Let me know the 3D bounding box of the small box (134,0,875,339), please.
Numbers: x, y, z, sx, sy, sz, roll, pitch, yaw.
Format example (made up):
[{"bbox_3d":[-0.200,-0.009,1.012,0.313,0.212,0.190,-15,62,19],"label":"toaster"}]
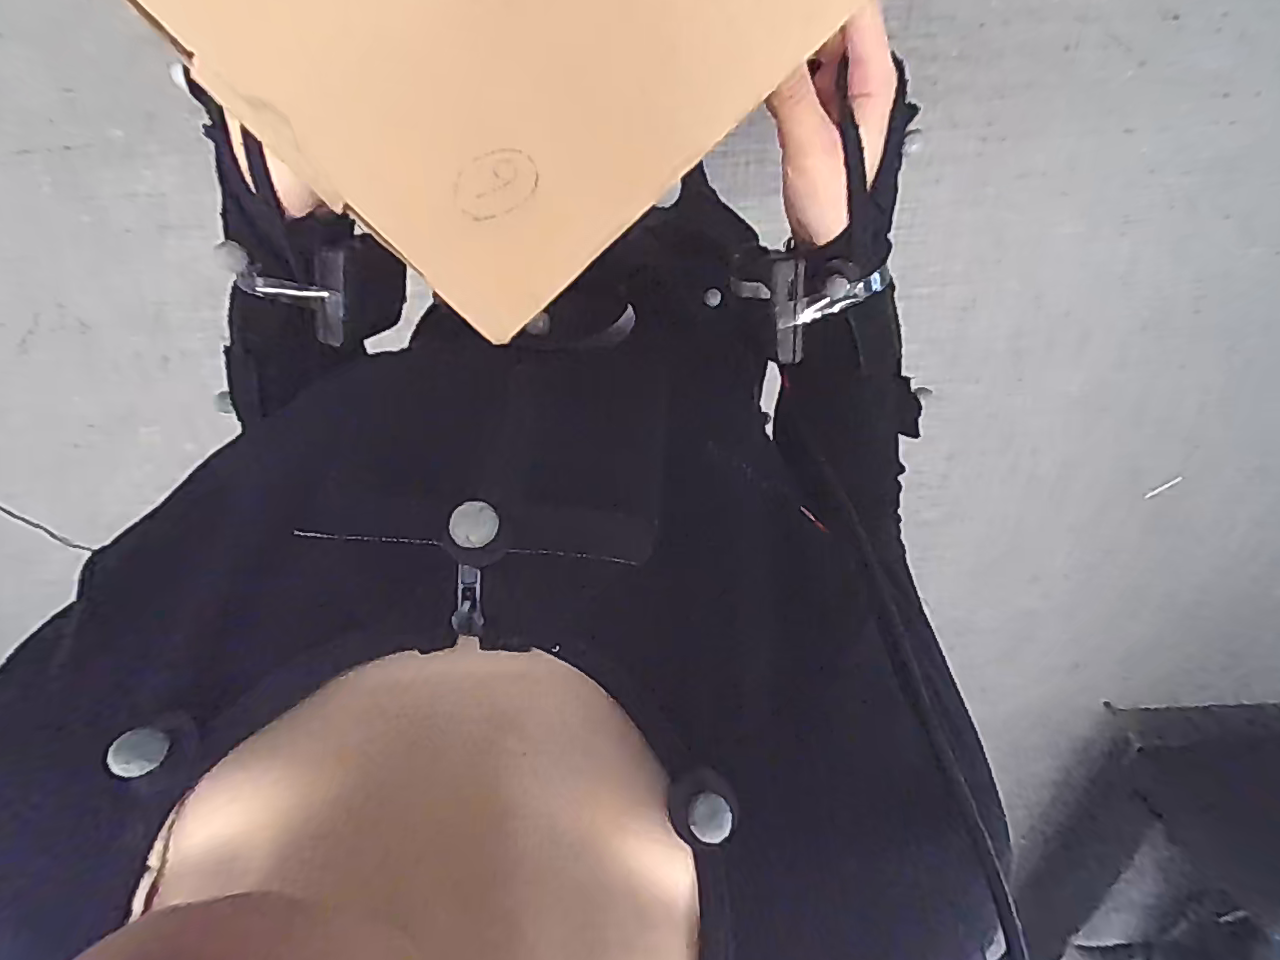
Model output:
[{"bbox_3d":[-0.035,-0.188,0.185,0.179,0.176,0.168,-34,119,23],"label":"small box"}]
